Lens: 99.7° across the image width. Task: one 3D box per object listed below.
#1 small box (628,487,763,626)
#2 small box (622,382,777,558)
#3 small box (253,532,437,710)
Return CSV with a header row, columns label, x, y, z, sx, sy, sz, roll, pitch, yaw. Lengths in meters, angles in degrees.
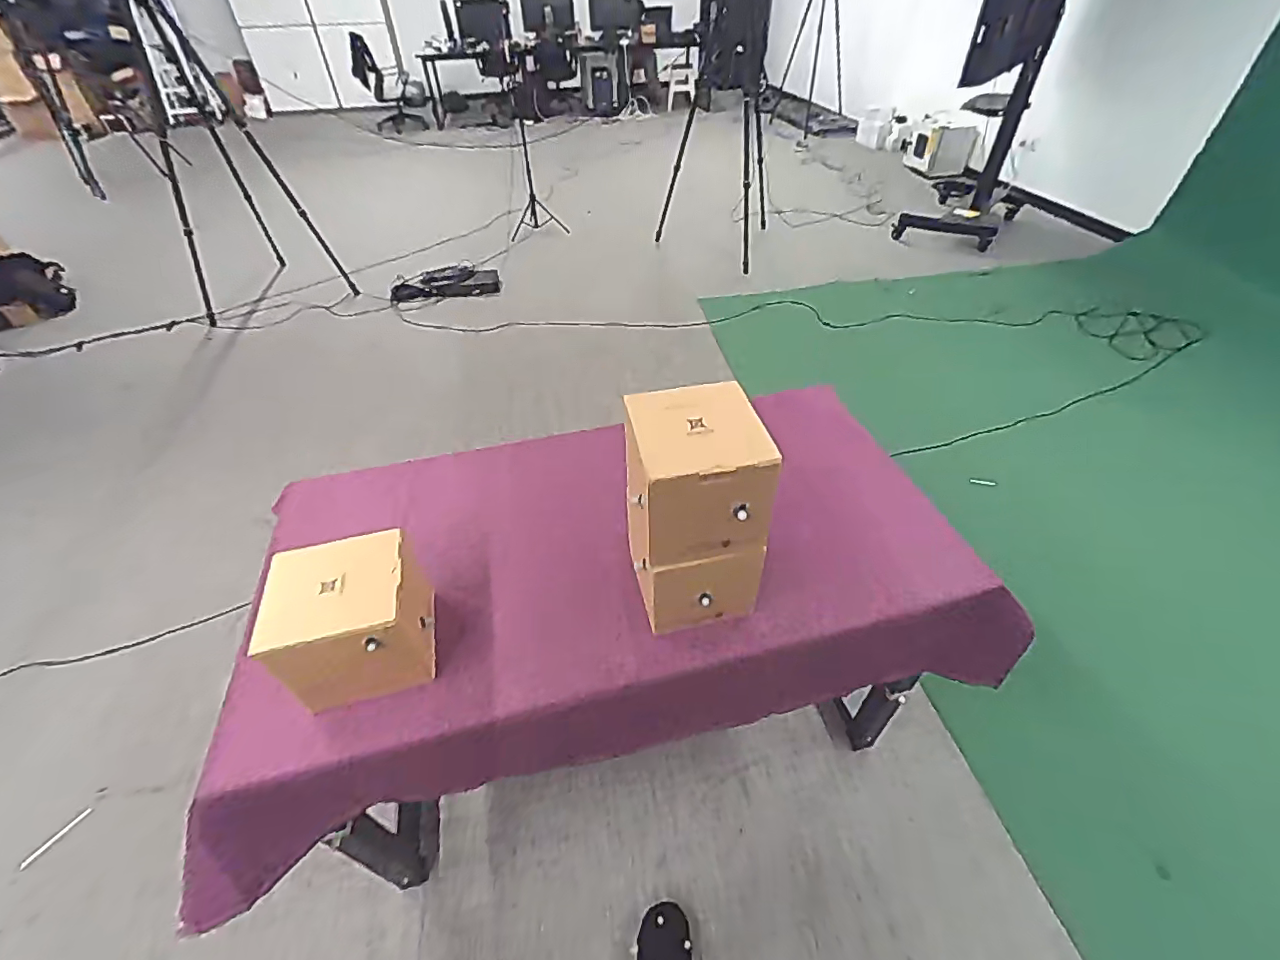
label,x,y,z,sx,sy,sz,roll,pitch,yaw
small box,0.081,0.112,0.856,0.168,0.176,0.179,-10,44,-8
small box,0.074,-0.009,0.747,0.168,0.176,0.179,-9,43,-7
small box,-0.409,0.207,0.786,0.179,0.176,0.168,-12,44,-11
